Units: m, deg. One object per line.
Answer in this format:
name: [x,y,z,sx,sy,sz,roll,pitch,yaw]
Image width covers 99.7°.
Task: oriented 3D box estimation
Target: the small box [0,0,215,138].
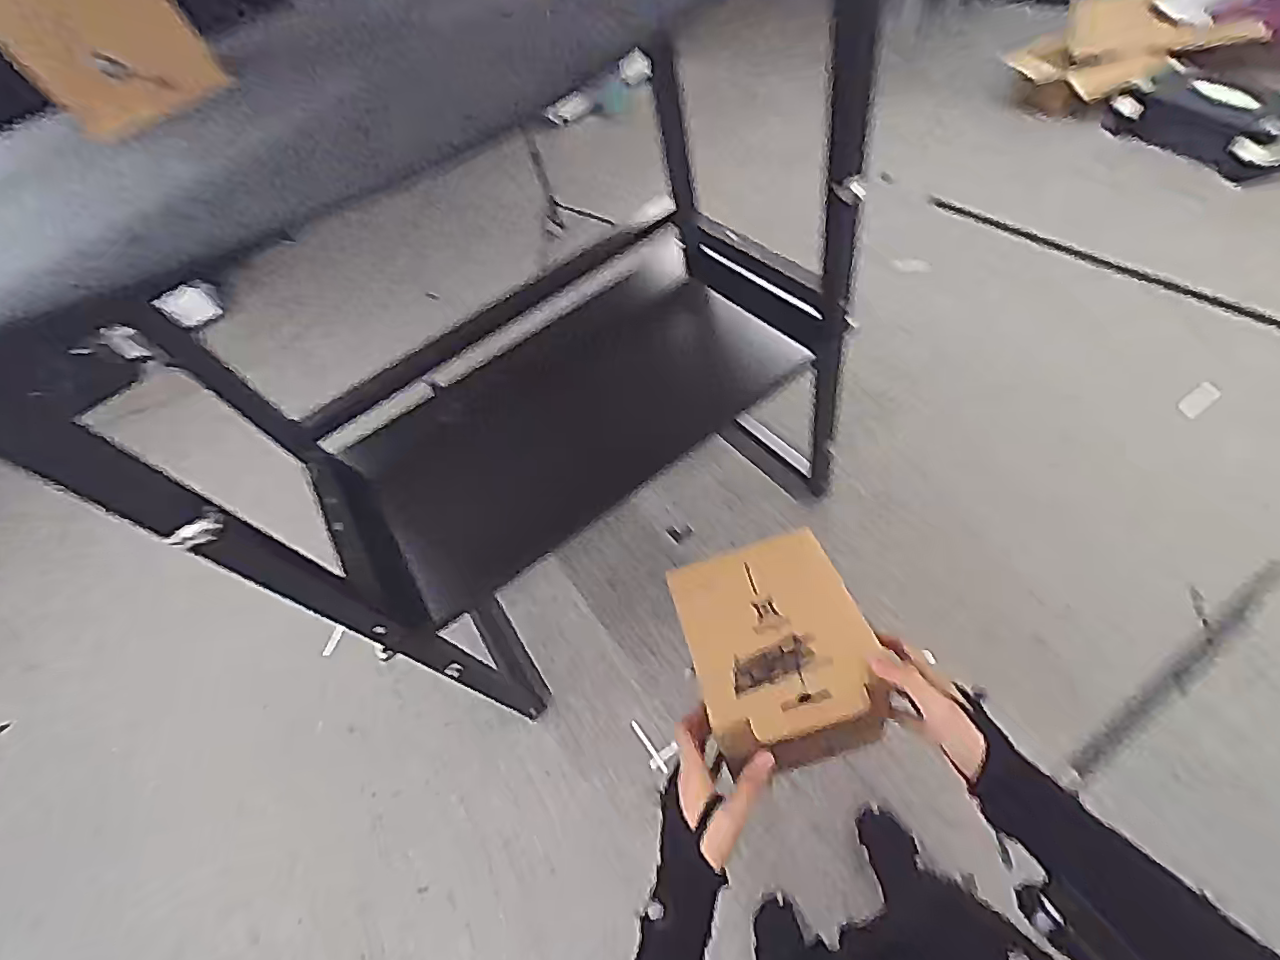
small box: [-0.640,-0.528,0.621,0.168,0.176,0.179,-38,57,-11]
